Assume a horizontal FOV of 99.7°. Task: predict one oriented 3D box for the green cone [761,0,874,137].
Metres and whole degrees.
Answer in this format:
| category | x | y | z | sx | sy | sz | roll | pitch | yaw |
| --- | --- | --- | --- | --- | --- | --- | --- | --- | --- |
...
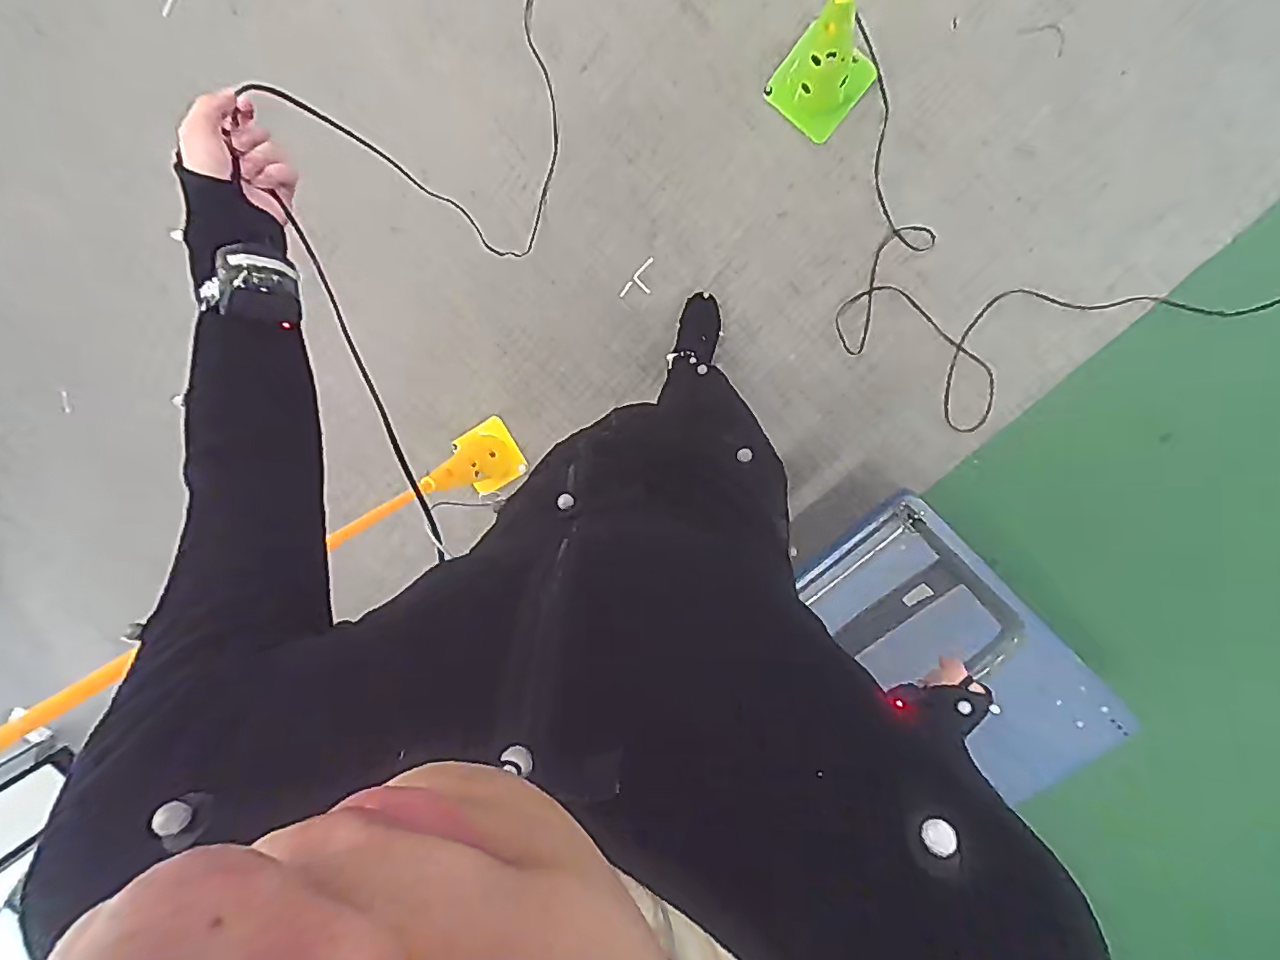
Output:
| category | x | y | z | sx | sy | sz | roll | pitch | yaw |
| --- | --- | --- | --- | --- | --- | --- | --- | --- | --- |
| green cone | 0.393 | -0.922 | 1.127 | 0.200 | 0.368 | 0.202 | 40 | 106 | -1 |
